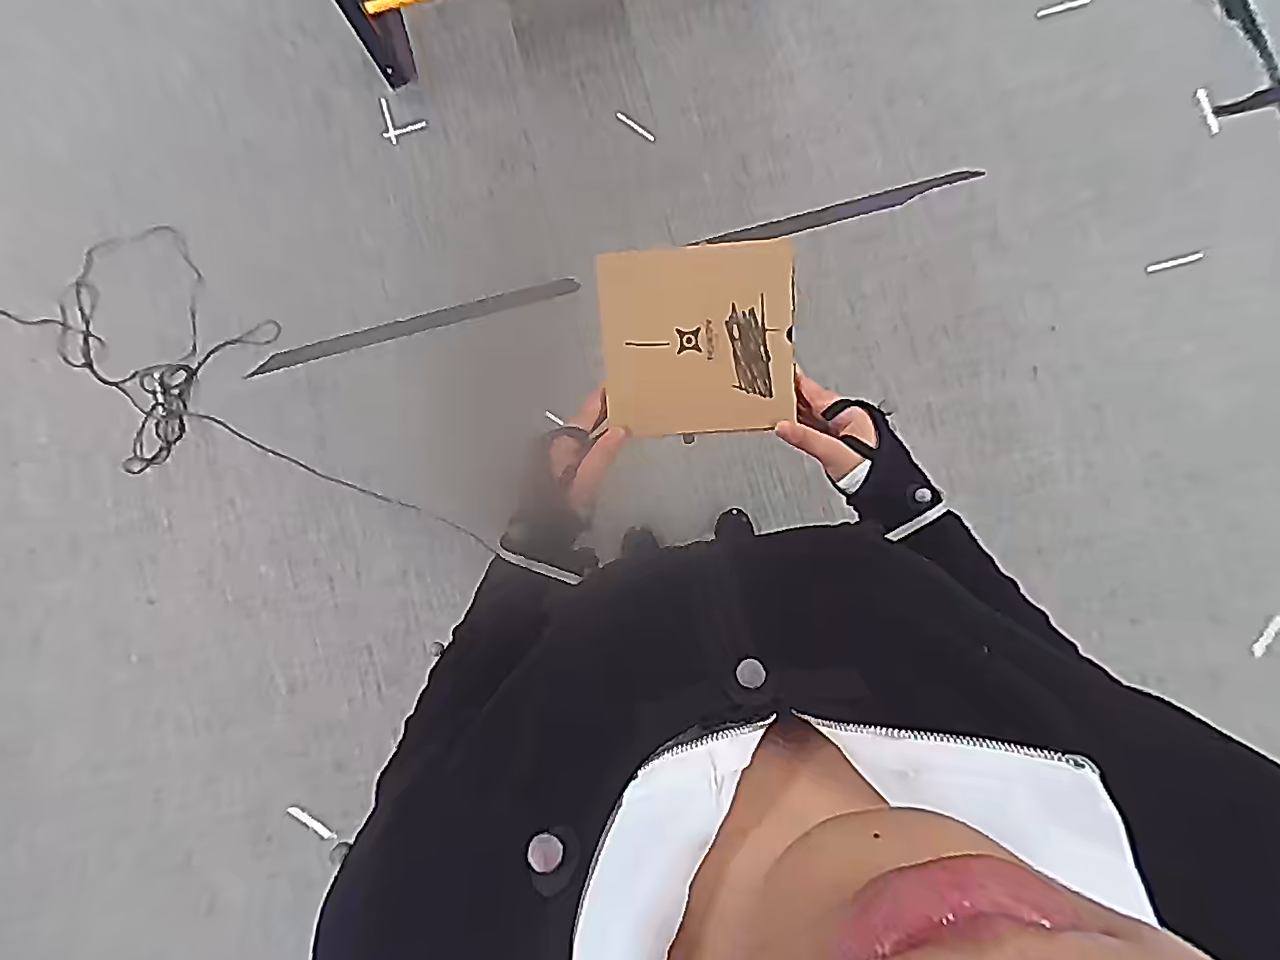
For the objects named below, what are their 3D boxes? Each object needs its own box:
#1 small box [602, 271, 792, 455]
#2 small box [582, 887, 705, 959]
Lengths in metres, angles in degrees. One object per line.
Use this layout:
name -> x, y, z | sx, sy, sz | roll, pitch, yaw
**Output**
small box -> 0.056, -0.121, 0.585 | 0.179, 0.176, 0.168 | -3, 99, 2
small box -> 0.013, 0.845, 0.921 | 0.179, 0.176, 0.168 | -17, 84, 4
